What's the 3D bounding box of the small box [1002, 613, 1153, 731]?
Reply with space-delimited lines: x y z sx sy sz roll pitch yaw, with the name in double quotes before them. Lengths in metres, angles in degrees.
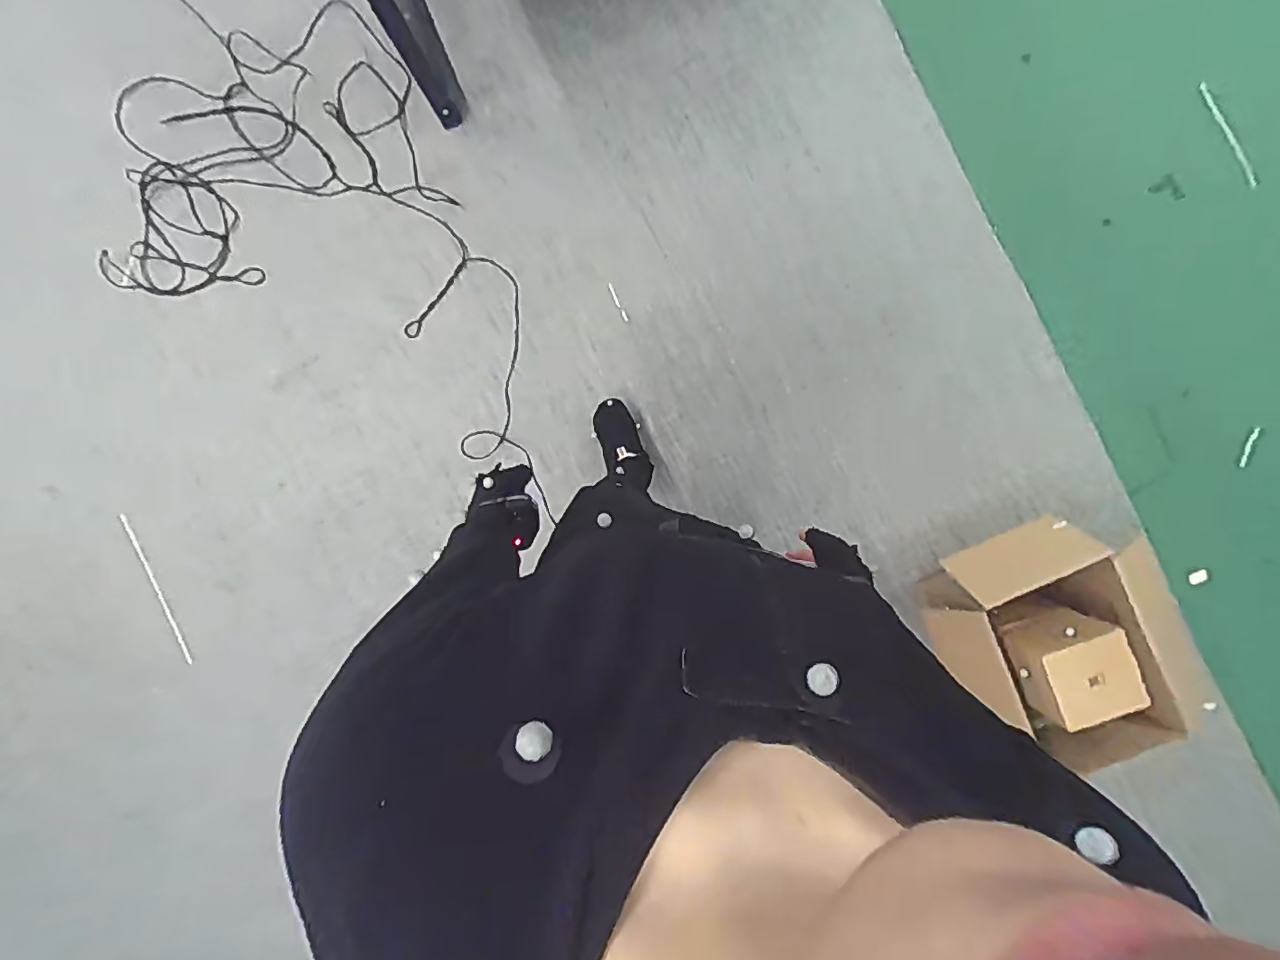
"small box" 0.930 0.407 1.173 0.179 0.176 0.168 -21 88 2
